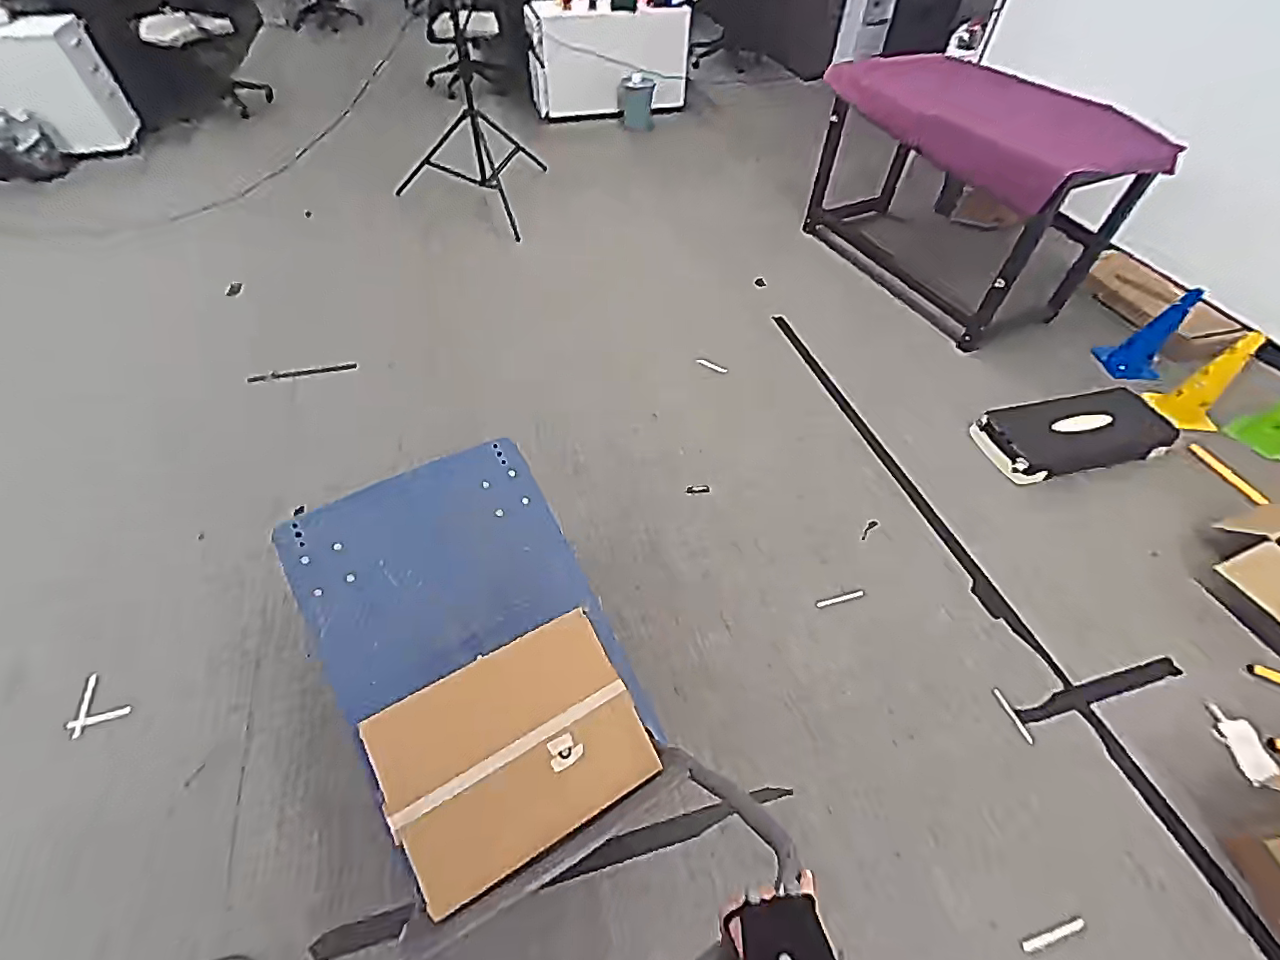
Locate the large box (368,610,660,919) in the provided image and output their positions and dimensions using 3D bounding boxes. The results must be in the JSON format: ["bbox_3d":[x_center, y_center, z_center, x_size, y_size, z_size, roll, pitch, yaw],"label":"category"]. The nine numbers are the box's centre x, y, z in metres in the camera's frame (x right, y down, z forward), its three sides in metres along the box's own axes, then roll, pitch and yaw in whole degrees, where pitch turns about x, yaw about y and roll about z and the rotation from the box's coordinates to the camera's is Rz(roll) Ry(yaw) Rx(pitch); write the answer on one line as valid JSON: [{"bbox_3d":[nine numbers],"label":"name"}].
[{"bbox_3d":[-0.235,0.506,1.044,0.408,0.320,0.320,-26,78,-21],"label":"large box"}]
